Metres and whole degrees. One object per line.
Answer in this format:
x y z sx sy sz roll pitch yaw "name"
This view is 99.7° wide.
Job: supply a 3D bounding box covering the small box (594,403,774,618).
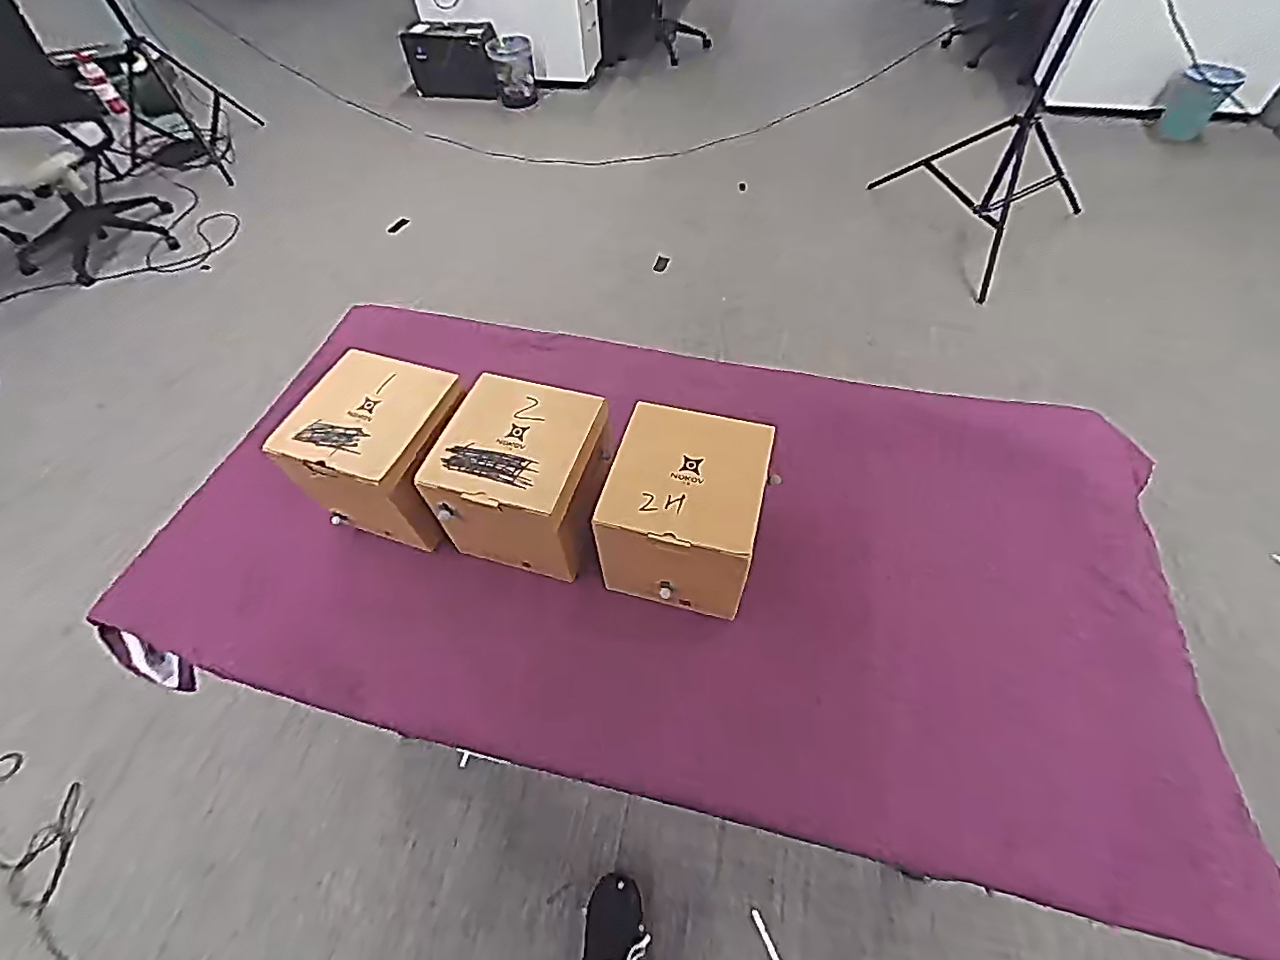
0.055 0.039 0.650 0.168 0.176 0.179 11 56 12 "small box"
